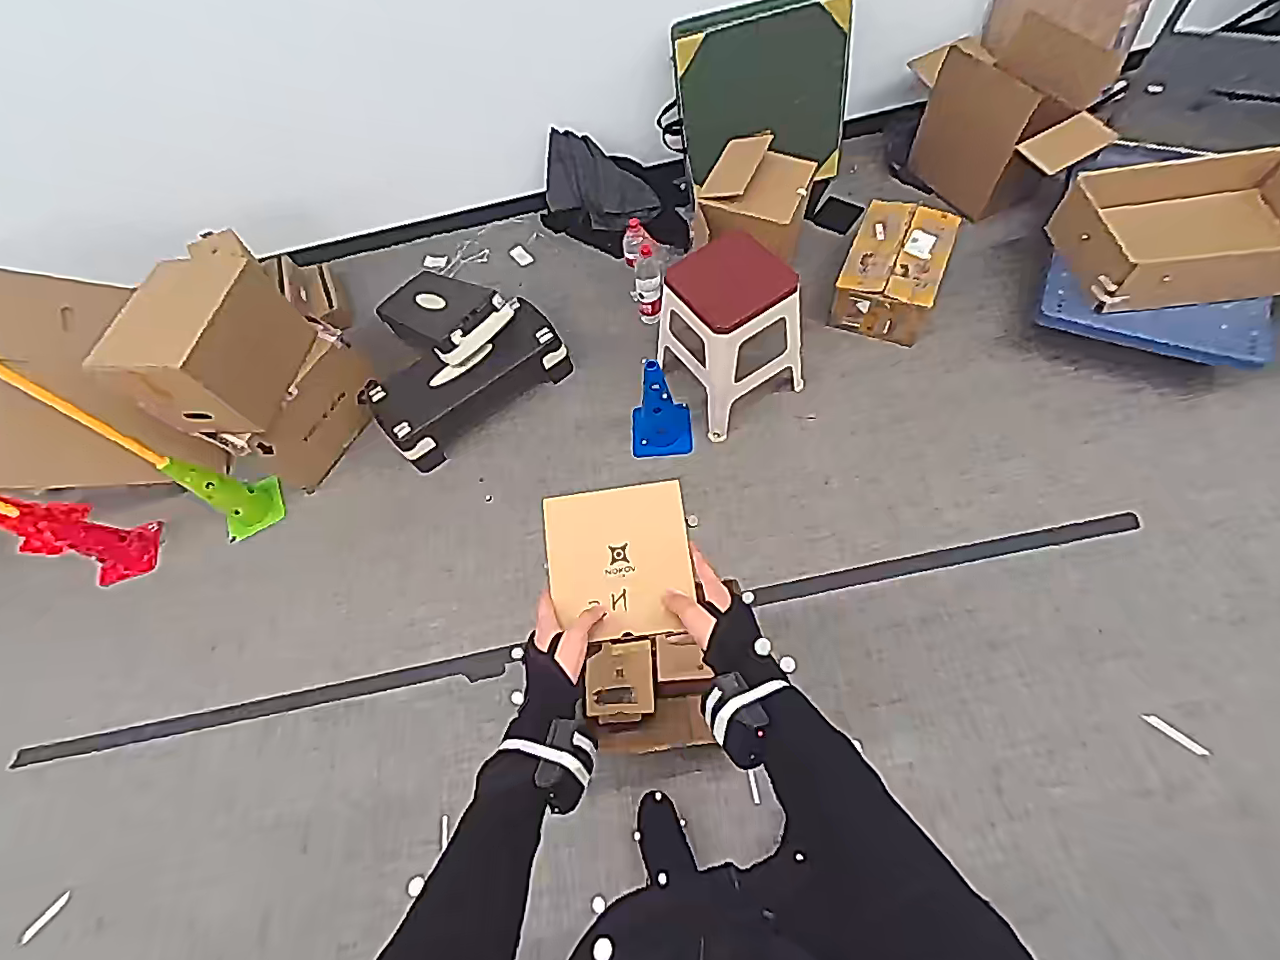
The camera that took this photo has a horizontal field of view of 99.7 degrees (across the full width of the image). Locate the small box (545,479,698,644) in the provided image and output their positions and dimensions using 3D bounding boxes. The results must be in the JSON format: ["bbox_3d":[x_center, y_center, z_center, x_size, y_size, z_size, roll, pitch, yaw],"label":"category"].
[{"bbox_3d":[-0.019,0.112,0.698,0.168,0.176,0.179,-8,75,4],"label":"small box"}]
